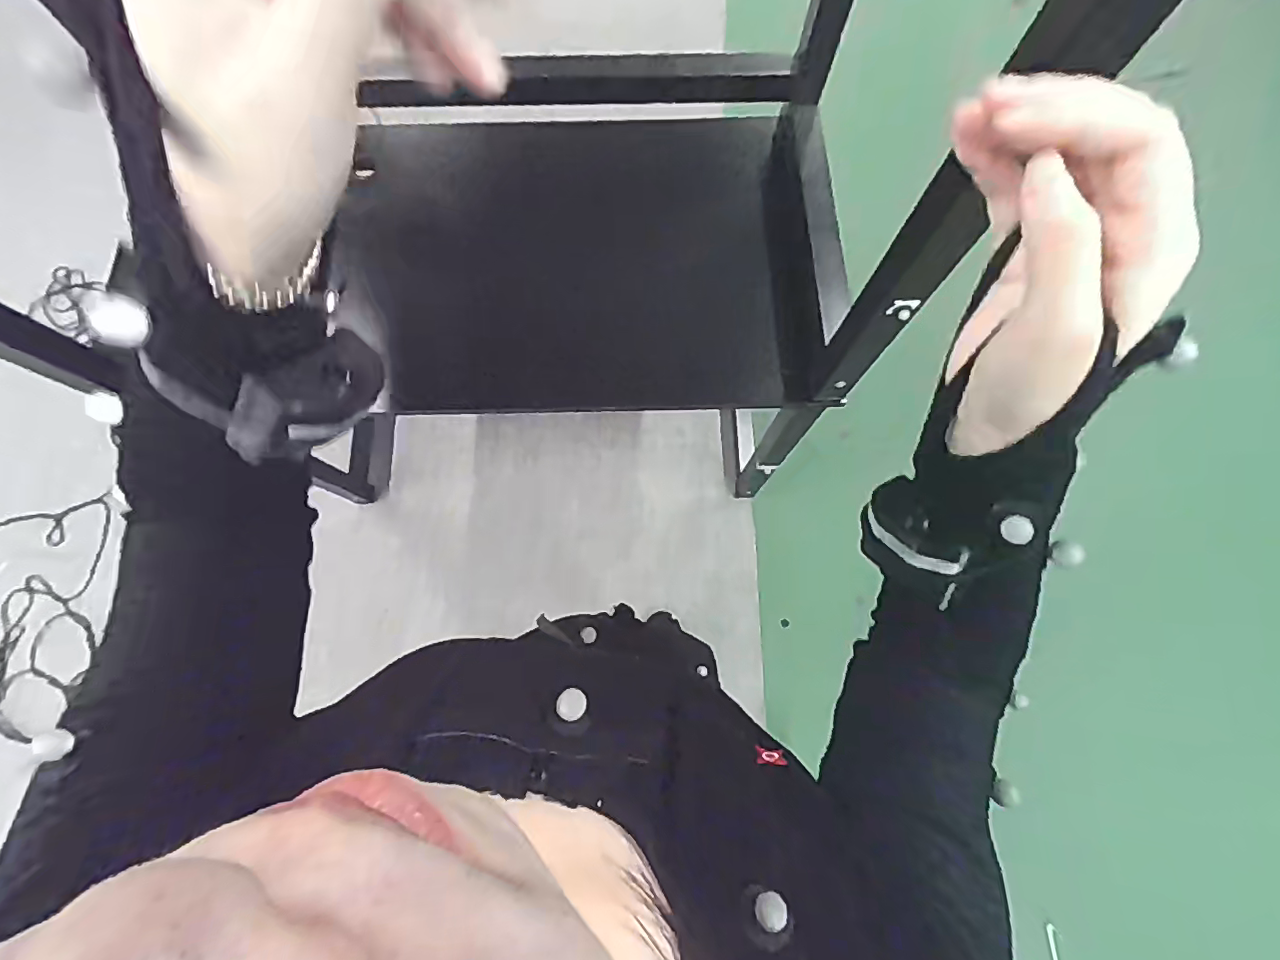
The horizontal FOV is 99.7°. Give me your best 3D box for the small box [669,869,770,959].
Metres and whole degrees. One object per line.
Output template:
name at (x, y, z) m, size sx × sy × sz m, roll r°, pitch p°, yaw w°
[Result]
small box at (0.161, 0.933, 1.098) m, size 0.168 × 0.176 × 0.179 m, roll -20°, pitch 76°, yaw -3°
